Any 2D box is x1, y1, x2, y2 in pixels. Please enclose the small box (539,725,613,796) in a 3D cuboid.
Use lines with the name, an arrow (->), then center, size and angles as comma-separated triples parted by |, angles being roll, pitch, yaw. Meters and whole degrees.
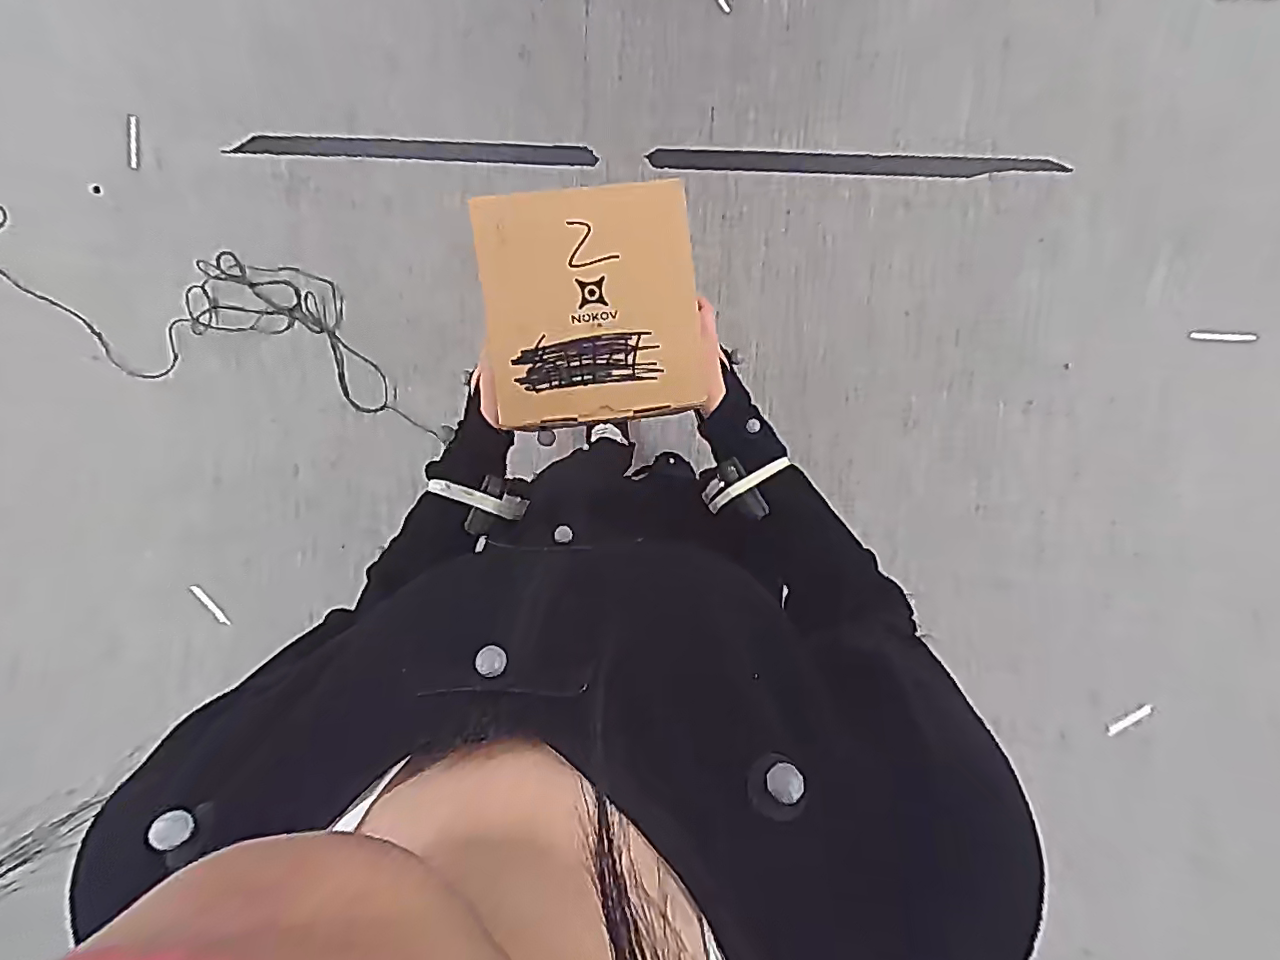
small box -> -0.173, 0.797, 1.485 | 0.179, 0.176, 0.168 | 3, 95, 3

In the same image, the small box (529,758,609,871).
small box -> -0.174, 0.807, 1.321 | 0.179, 0.176, 0.168 | 6, 94, 2

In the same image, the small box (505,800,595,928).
small box -> -0.192, 0.823, 1.159 | 0.168, 0.176, 0.179 | 5, 94, 3
